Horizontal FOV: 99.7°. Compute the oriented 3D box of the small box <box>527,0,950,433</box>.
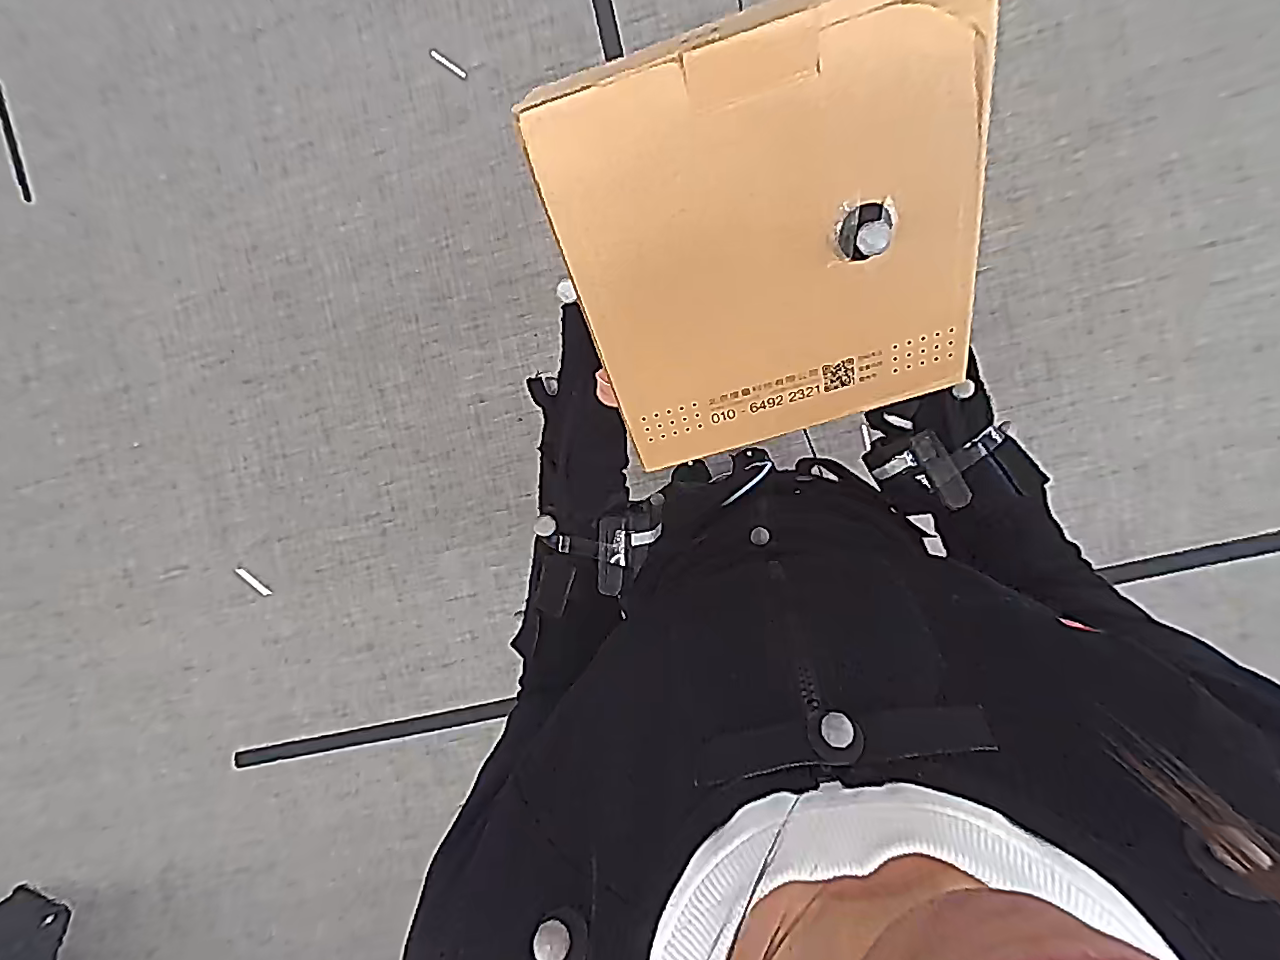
[{"bbox_3d":[0.053,-0.144,0.309,0.168,0.179,0.176,-15,127,8],"label":"small box"}]
